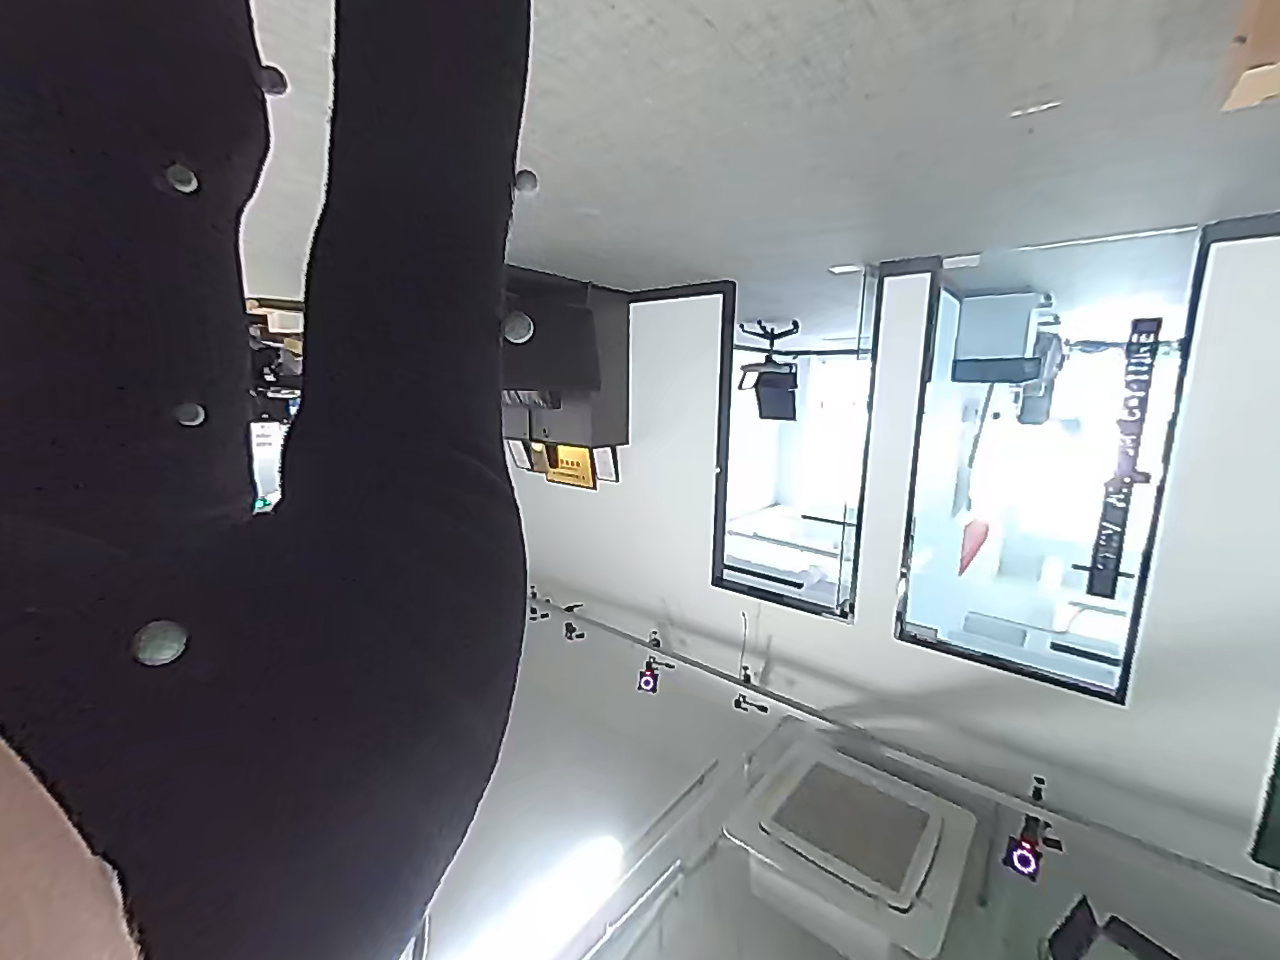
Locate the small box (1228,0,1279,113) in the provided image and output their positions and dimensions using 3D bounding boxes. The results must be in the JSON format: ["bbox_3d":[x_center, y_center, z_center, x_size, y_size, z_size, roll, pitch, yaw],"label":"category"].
[{"bbox_3d":[1.039,-0.701,0.814,0.168,0.176,0.179,9,-168,36],"label":"small box"}]
